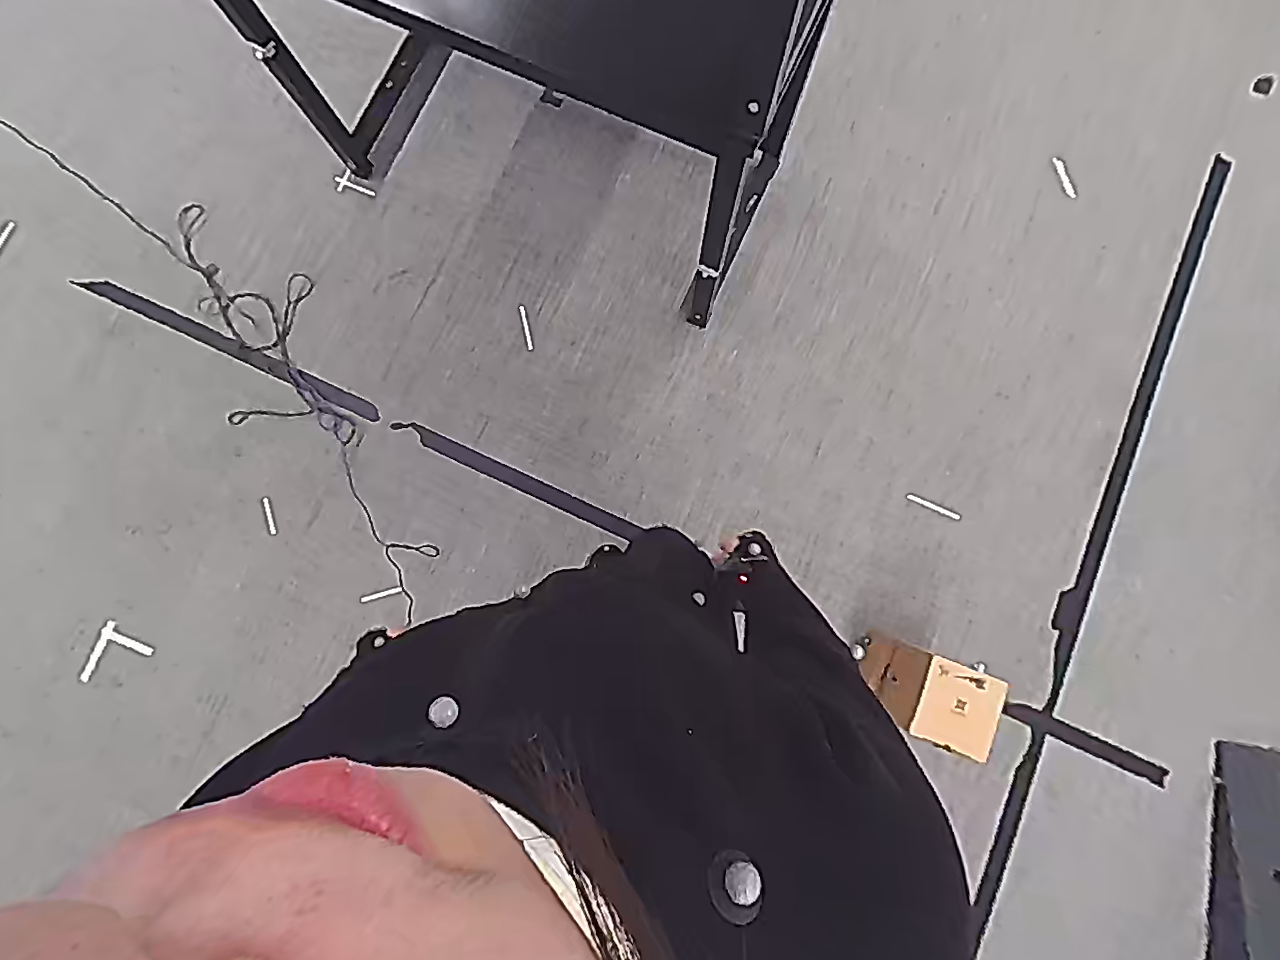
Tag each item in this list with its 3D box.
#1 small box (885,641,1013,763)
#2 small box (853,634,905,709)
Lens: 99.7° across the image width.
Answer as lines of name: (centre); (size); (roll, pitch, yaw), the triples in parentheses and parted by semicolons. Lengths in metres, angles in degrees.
small box: (0.673, 0.483, 1.203); (0.168, 0.176, 0.179); (21, 85, 3)
small box: (0.671, 0.506, 1.366); (0.179, 0.176, 0.168); (26, 85, 3)
